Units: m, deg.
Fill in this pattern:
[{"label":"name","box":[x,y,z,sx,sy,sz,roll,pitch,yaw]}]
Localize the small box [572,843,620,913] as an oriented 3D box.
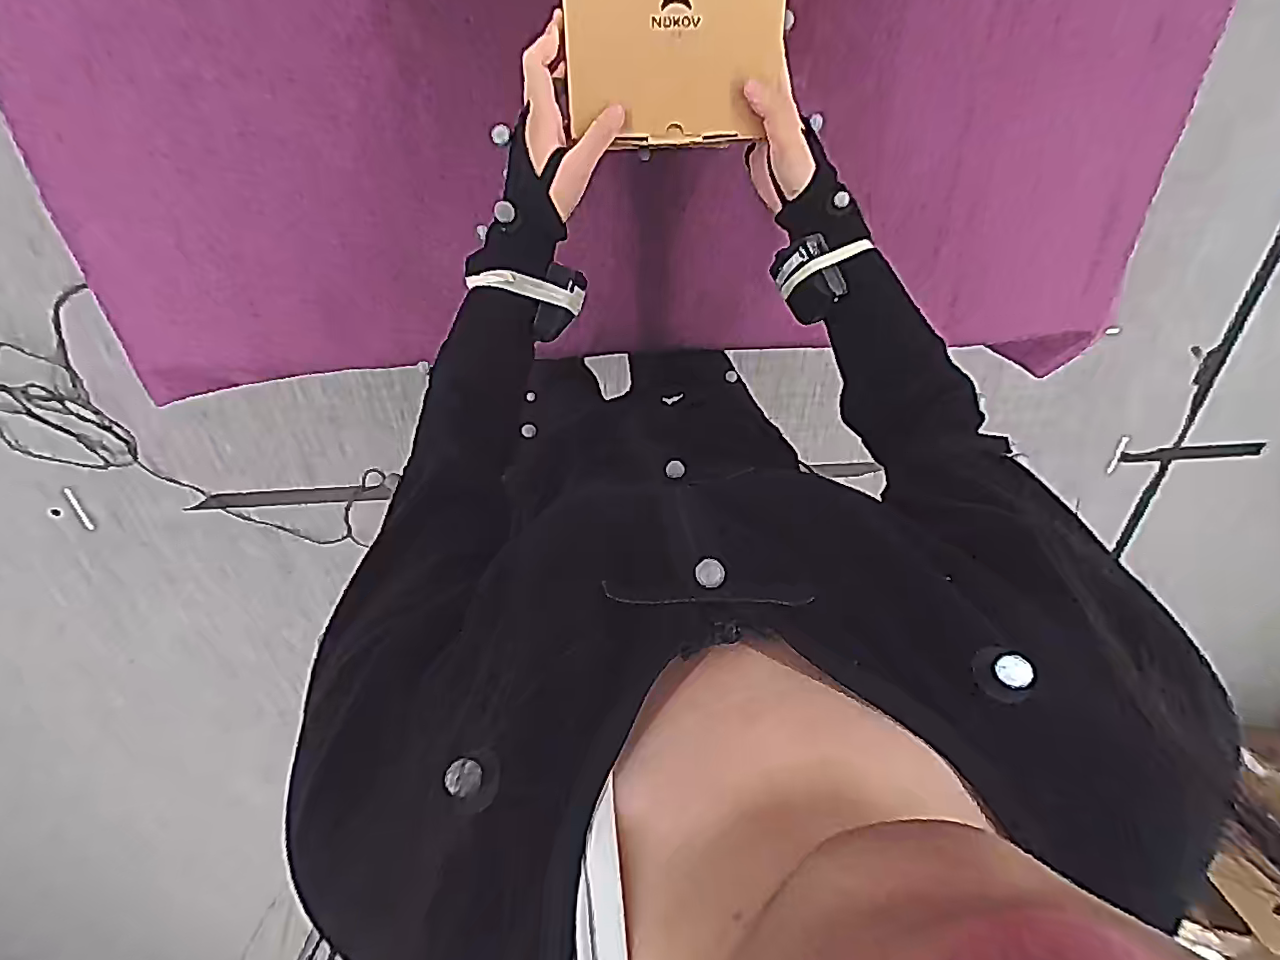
[{"label":"small box","box":[-0.171,1.539,2.099,0.179,0.176,0.168,-4,120,-3]}]
